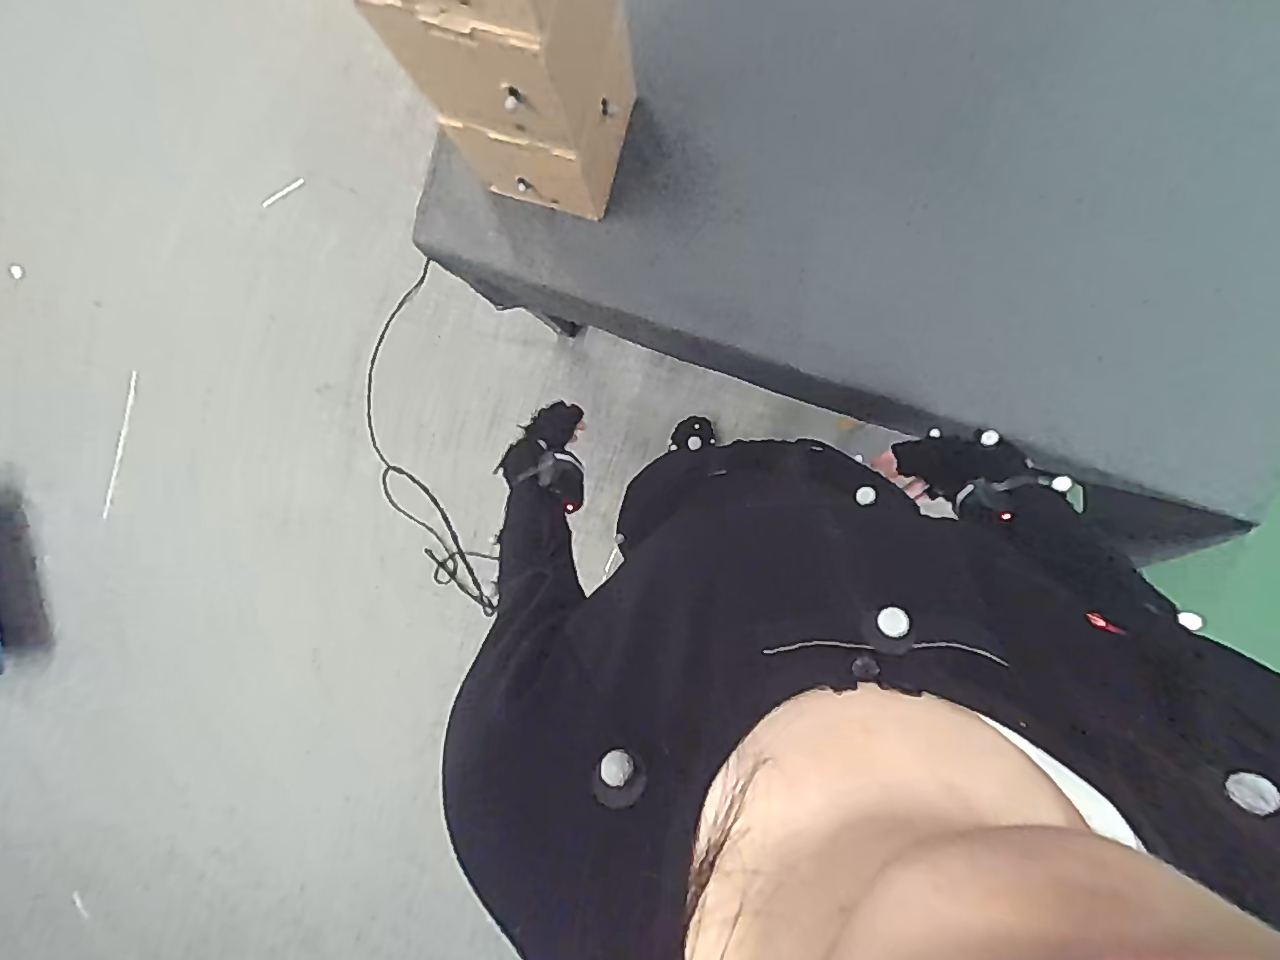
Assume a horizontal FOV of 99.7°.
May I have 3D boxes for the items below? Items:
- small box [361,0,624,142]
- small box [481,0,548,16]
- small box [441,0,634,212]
[{"bbox_3d":[-0.119,-0.451,0.491,0.168,0.176,0.179,18,96,2],"label":"small box"},{"bbox_3d":[-0.129,-0.444,0.328,0.168,0.176,0.179,17,96,2],"label":"small box"},{"bbox_3d":[-0.109,-0.462,0.653,0.168,0.176,0.179,17,96,3],"label":"small box"}]
